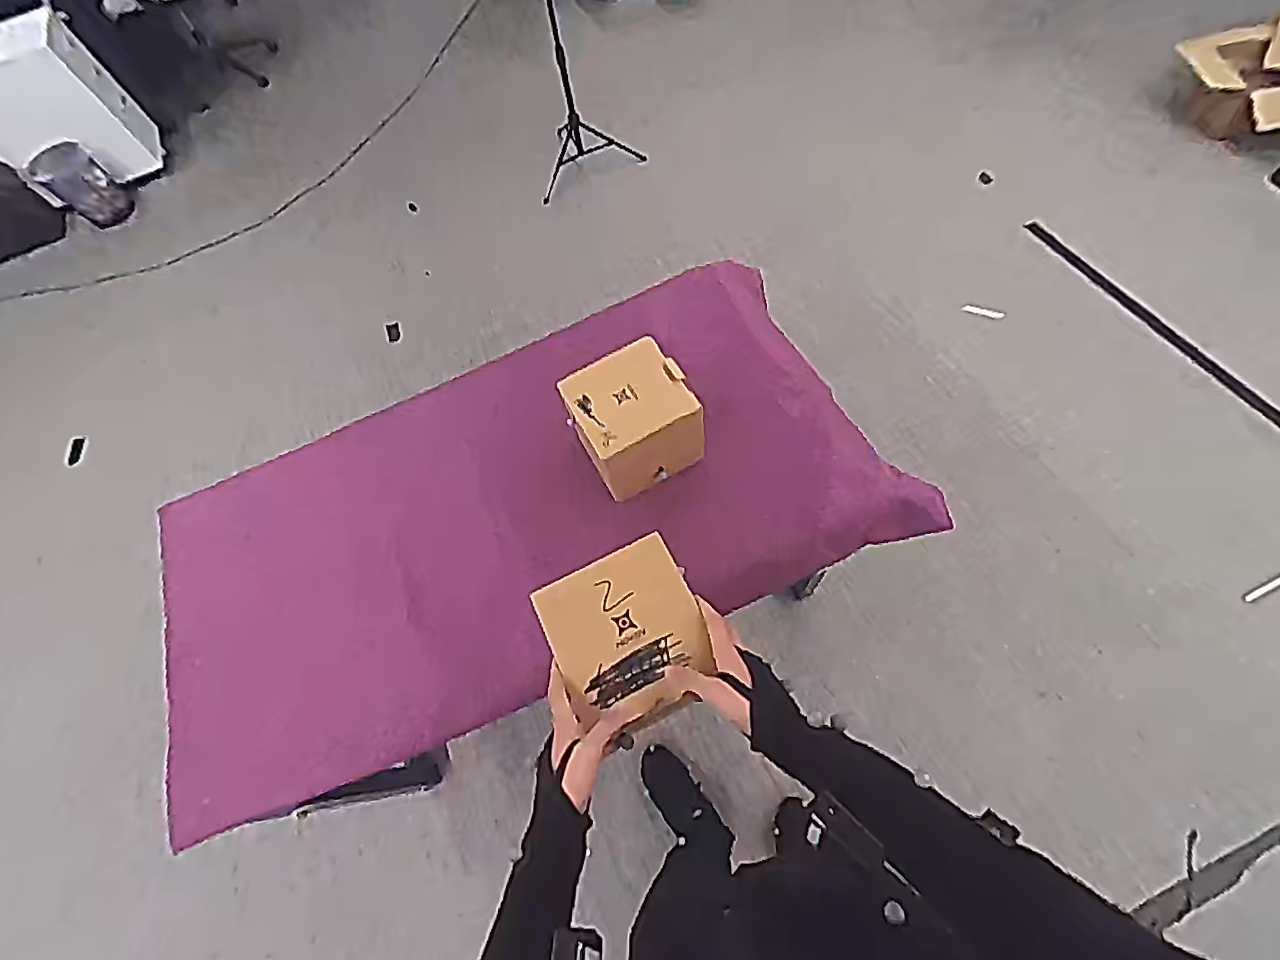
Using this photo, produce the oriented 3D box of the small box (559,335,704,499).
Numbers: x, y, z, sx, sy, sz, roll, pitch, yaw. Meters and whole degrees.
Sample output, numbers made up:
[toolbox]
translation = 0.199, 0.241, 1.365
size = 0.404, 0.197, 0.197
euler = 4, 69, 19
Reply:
[small box]
translation = -0.009, -0.098, 0.897
size = 0.179, 0.176, 0.168
euler = -28, 64, -7
